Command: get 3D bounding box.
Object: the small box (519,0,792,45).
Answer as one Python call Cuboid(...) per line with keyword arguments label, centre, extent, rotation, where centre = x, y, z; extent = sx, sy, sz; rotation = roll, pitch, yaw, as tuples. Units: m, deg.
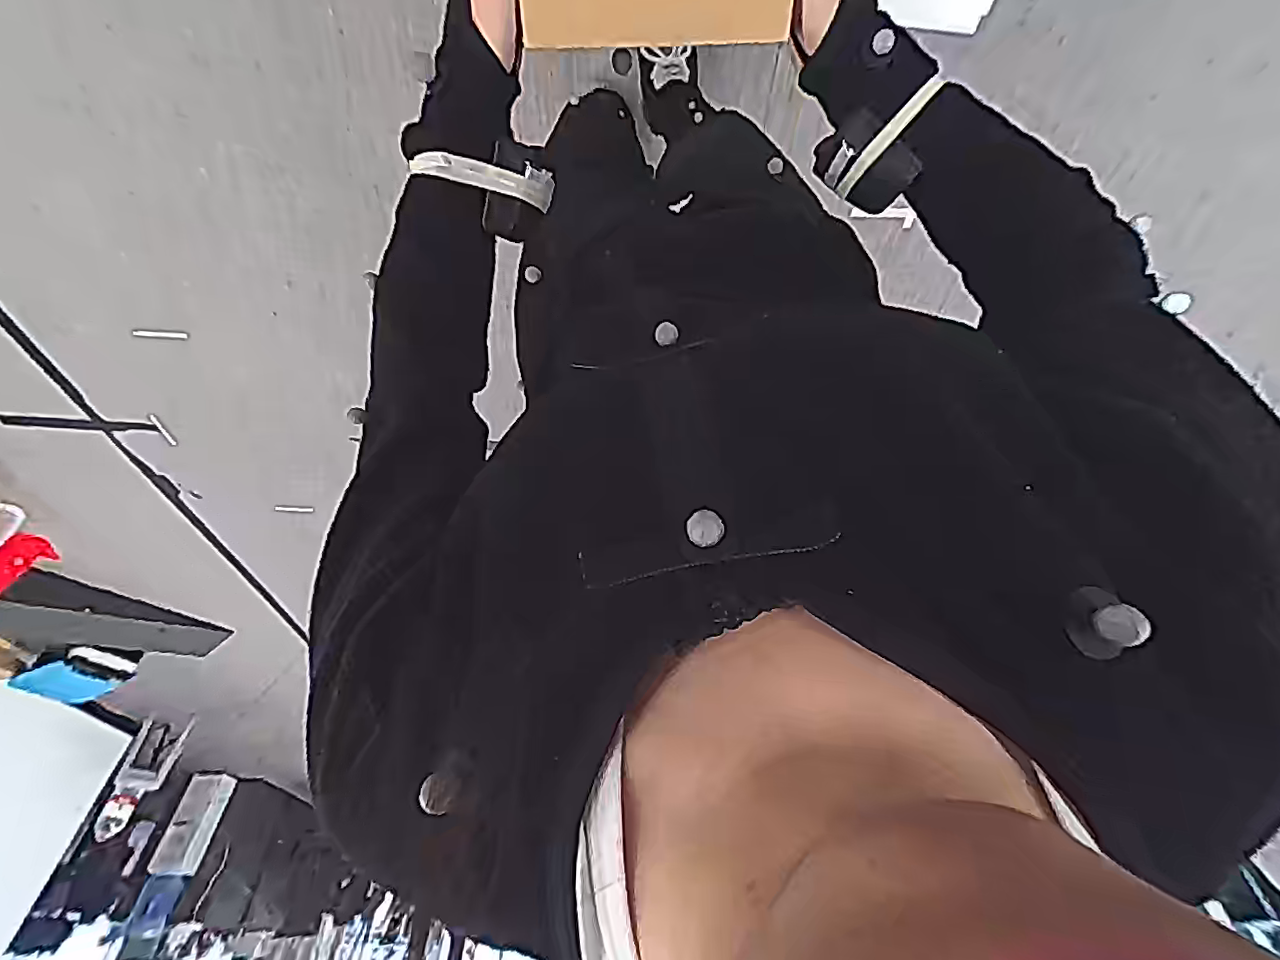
Cuboid(label="small box", centre=(0.007, -0.387, 0.339), extent=(0.168, 0.176, 0.179), rotation=(-2, 128, -1))
